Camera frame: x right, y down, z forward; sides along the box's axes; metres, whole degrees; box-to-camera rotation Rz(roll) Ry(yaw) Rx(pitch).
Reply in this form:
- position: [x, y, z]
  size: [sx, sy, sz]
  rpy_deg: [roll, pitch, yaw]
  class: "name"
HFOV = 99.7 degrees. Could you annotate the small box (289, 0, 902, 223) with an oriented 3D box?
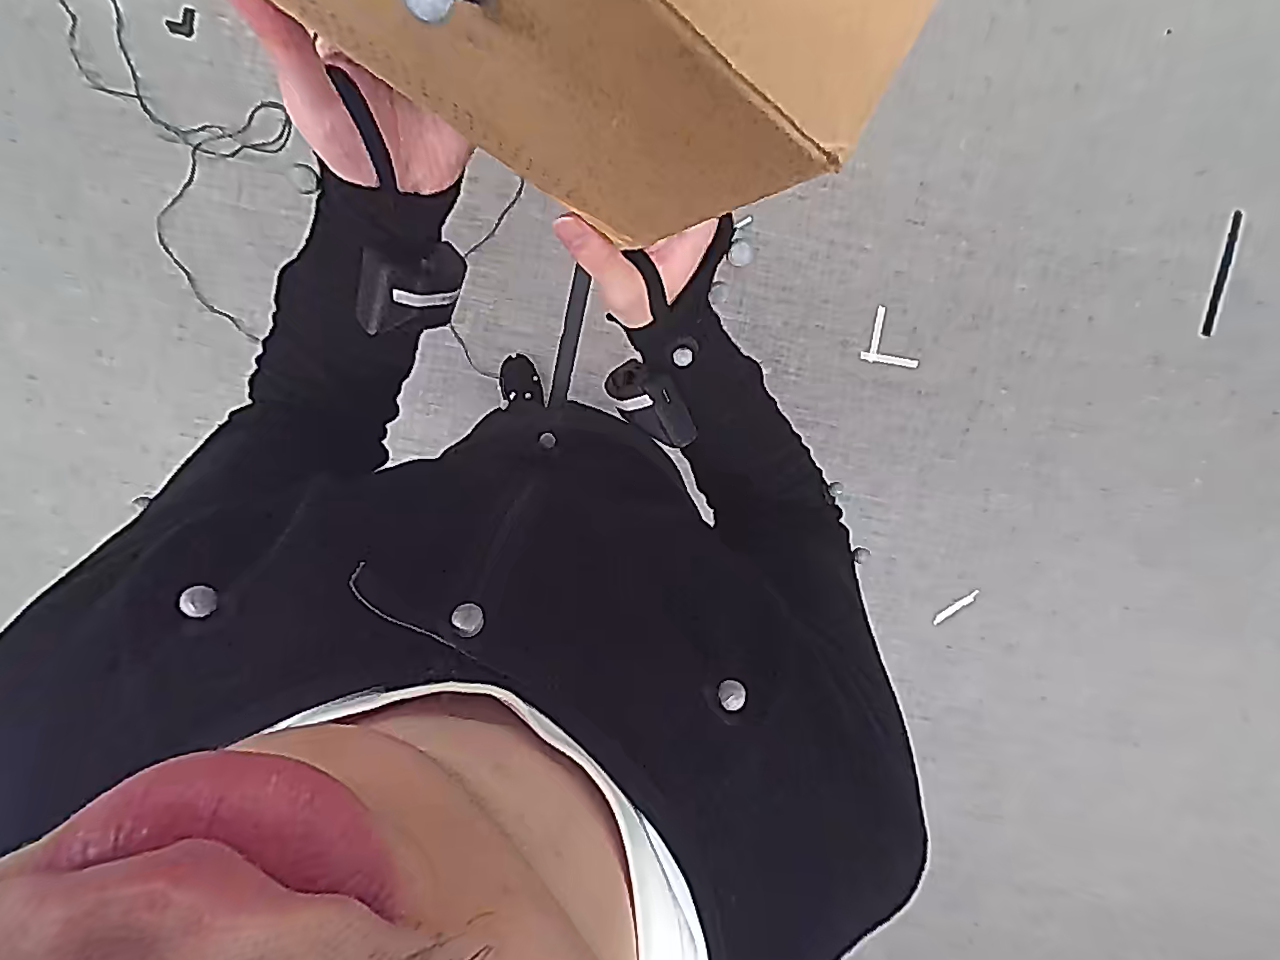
- position: [-0.015, -0.204, 0.162]
  size: [0.179, 0.176, 0.168]
  rpy_deg: [26, 97, -24]
  class: "small box"
